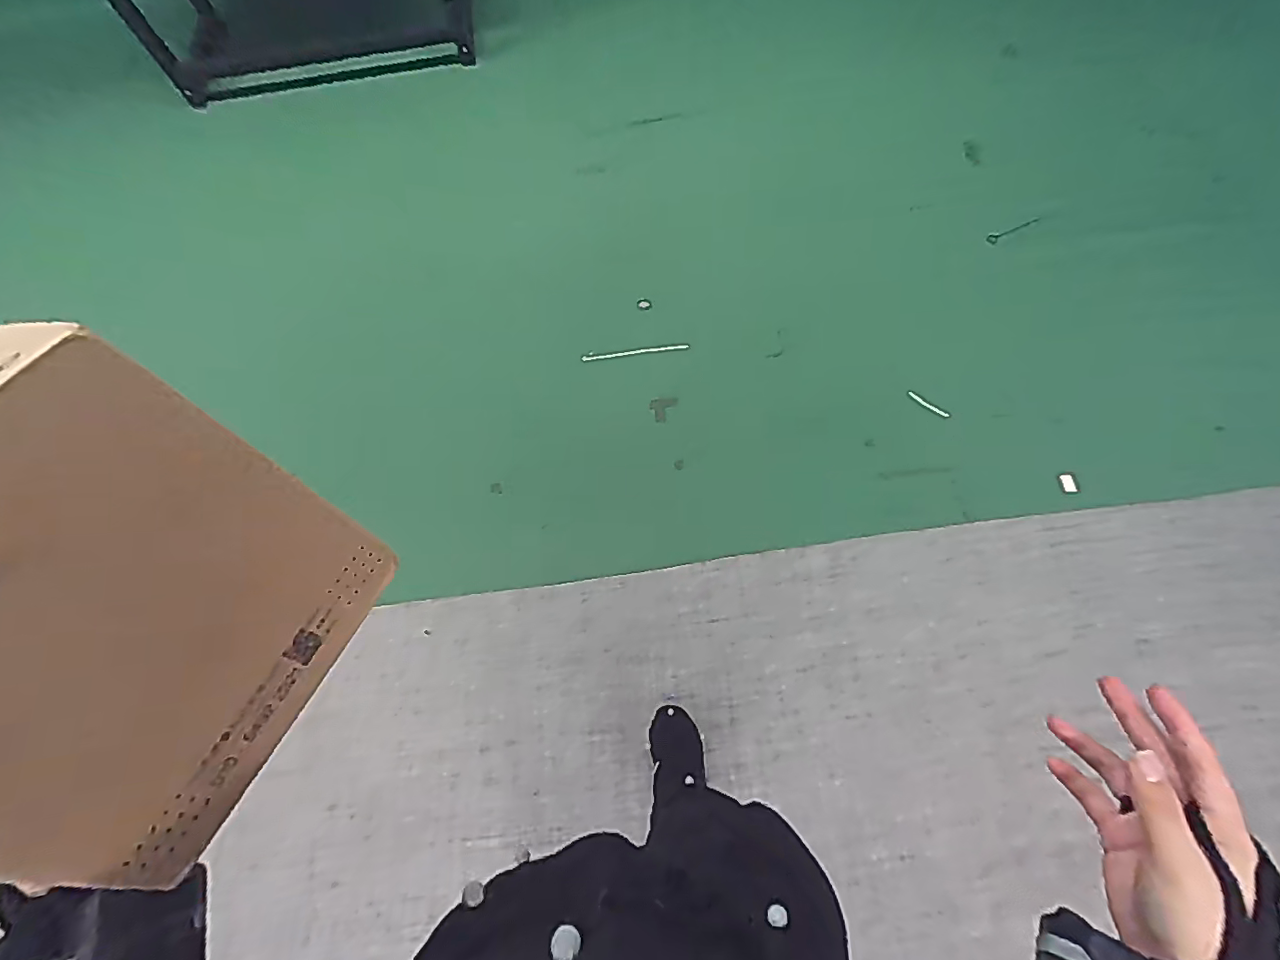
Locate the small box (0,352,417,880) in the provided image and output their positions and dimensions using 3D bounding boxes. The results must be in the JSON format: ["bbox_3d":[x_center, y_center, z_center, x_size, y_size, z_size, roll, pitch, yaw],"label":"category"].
[{"bbox_3d":[-0.253,0.059,0.257,0.179,0.176,0.168,7,57,32],"label":"small box"}]
